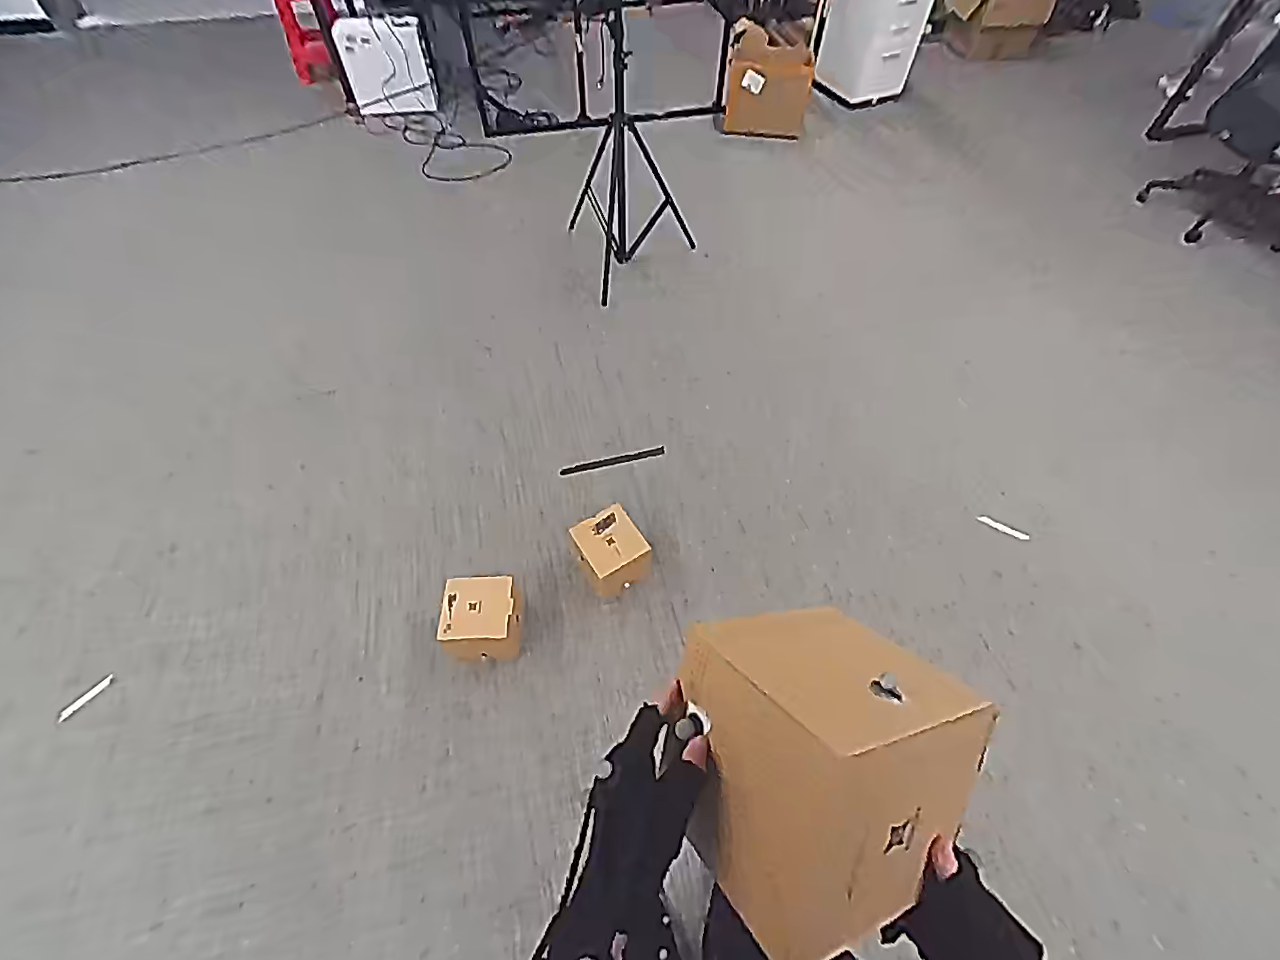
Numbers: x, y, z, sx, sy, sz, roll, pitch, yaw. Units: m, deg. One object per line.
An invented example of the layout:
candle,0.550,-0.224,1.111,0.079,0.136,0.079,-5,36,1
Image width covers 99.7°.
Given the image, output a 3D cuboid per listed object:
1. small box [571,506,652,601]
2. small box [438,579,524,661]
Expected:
small box,-0.082,0.212,1.539,0.168,0.176,0.179,-28,61,-18
small box,-0.410,0.371,1.428,0.179,0.176,0.168,-1,55,-1
